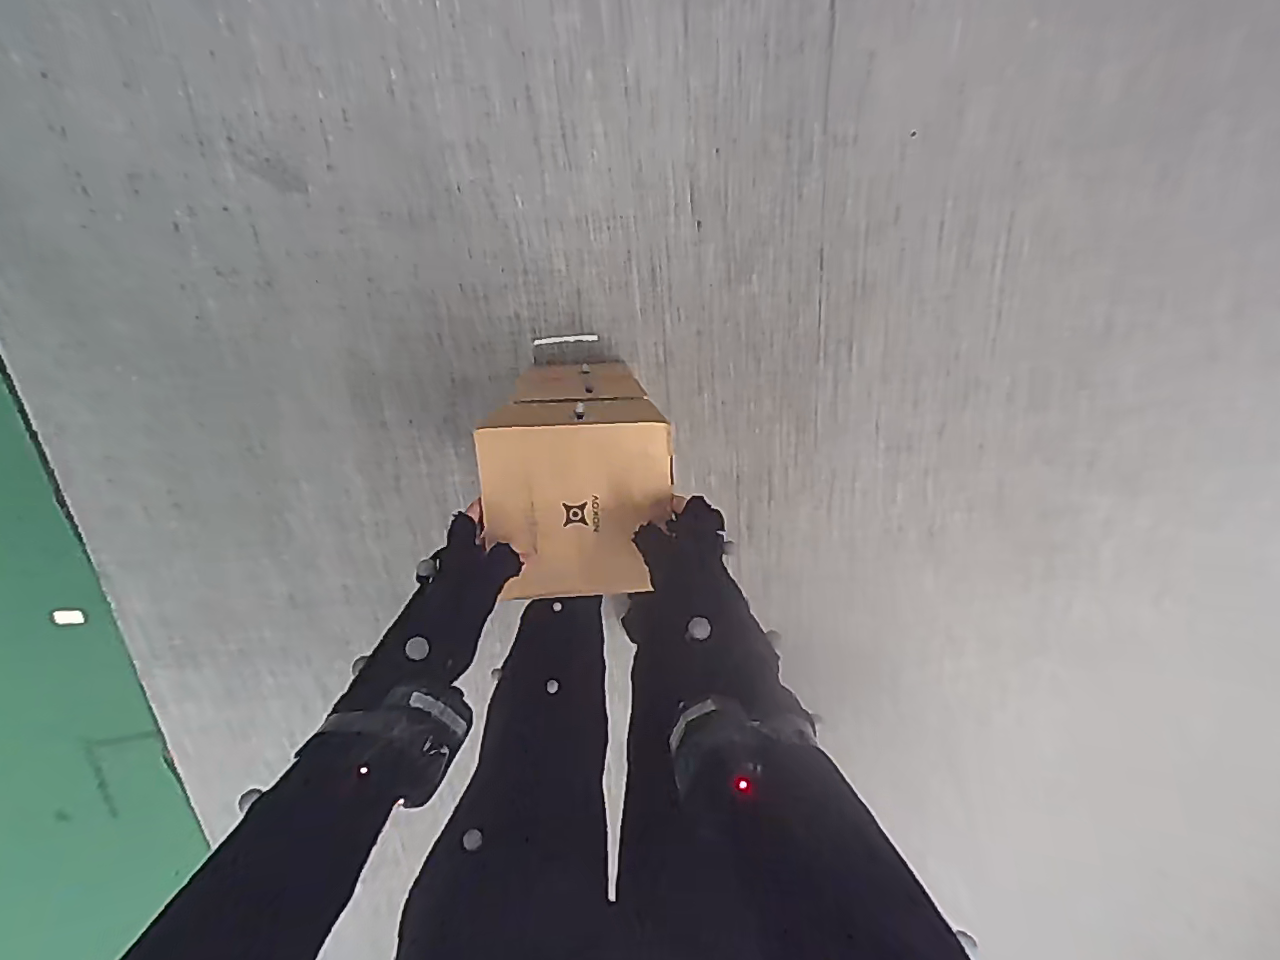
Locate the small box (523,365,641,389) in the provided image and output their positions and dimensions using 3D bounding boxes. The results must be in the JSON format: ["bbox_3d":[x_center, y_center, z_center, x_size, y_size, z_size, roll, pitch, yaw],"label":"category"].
[{"bbox_3d":[-0.096,-0.101,0.896,0.179,0.176,0.168,-1,107,-6],"label":"small box"}]

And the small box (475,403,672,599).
[{"bbox_3d":[-0.065,0.011,0.577,0.179,0.176,0.168,-3,105,-4],"label":"small box"}]

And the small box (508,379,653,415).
[{"bbox_3d":[-0.079,-0.045,0.746,0.179,0.176,0.168,-3,109,-5],"label":"small box"}]
